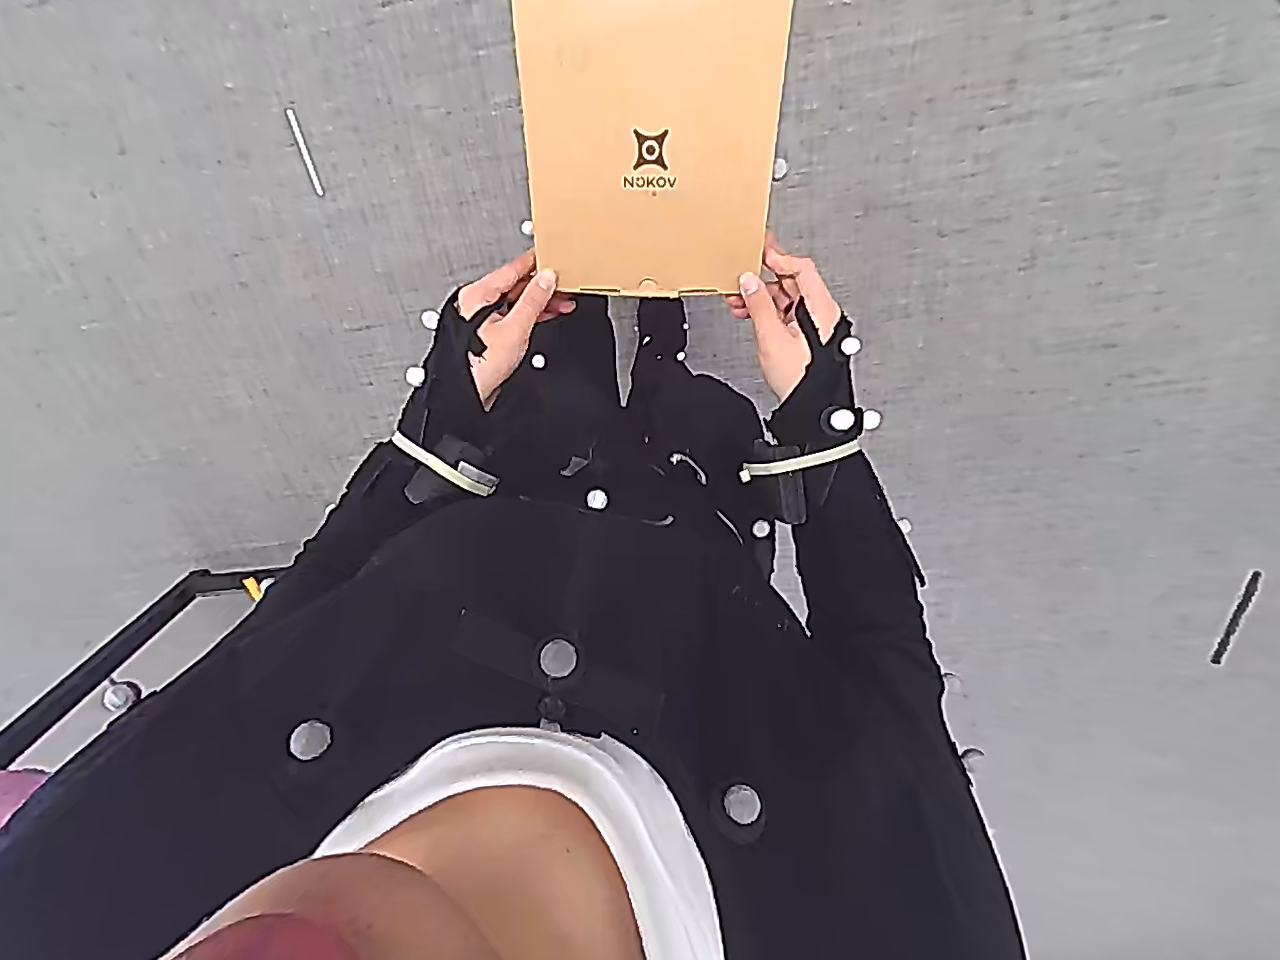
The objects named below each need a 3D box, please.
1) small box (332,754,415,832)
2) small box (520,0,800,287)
[{"bbox_3d":[-0.910,1.074,1.861,0.179,0.176,0.168,-8,119,4],"label":"small box"},{"bbox_3d":[0.010,-0.259,0.417,0.168,0.176,0.179,1,123,1],"label":"small box"}]
